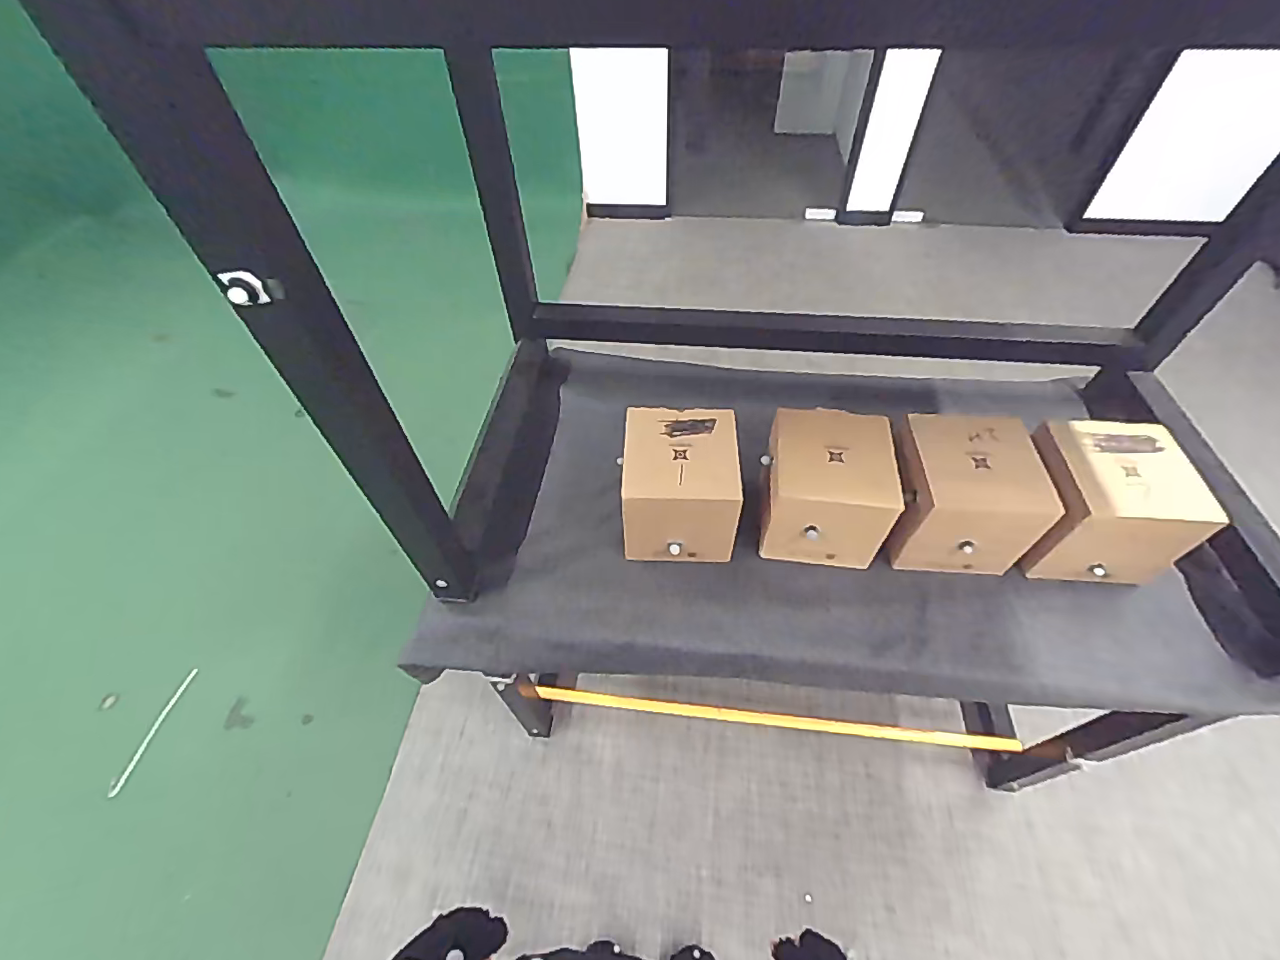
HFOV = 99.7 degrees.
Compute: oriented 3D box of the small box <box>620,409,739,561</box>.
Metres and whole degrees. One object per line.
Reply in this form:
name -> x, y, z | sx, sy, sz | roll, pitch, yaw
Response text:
small box -> 0.057, 0.008, 0.849 | 0.168, 0.176, 0.179 | 0, 52, 2
